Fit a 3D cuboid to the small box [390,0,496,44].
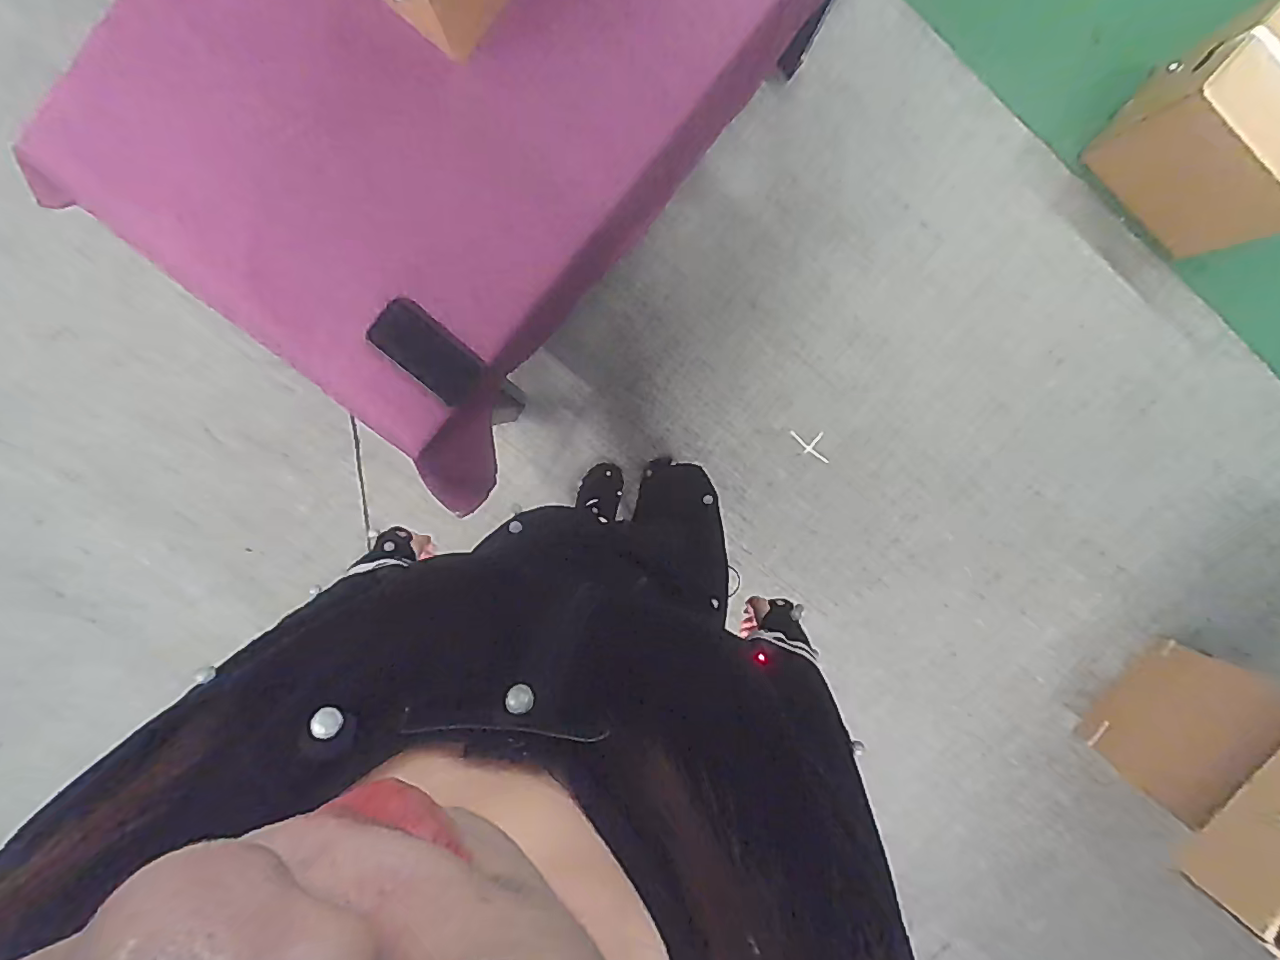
[{"bbox_3d":[-0.236,-0.626,0.578,0.179,0.176,0.168,38,94,-6],"label":"small box"}]
